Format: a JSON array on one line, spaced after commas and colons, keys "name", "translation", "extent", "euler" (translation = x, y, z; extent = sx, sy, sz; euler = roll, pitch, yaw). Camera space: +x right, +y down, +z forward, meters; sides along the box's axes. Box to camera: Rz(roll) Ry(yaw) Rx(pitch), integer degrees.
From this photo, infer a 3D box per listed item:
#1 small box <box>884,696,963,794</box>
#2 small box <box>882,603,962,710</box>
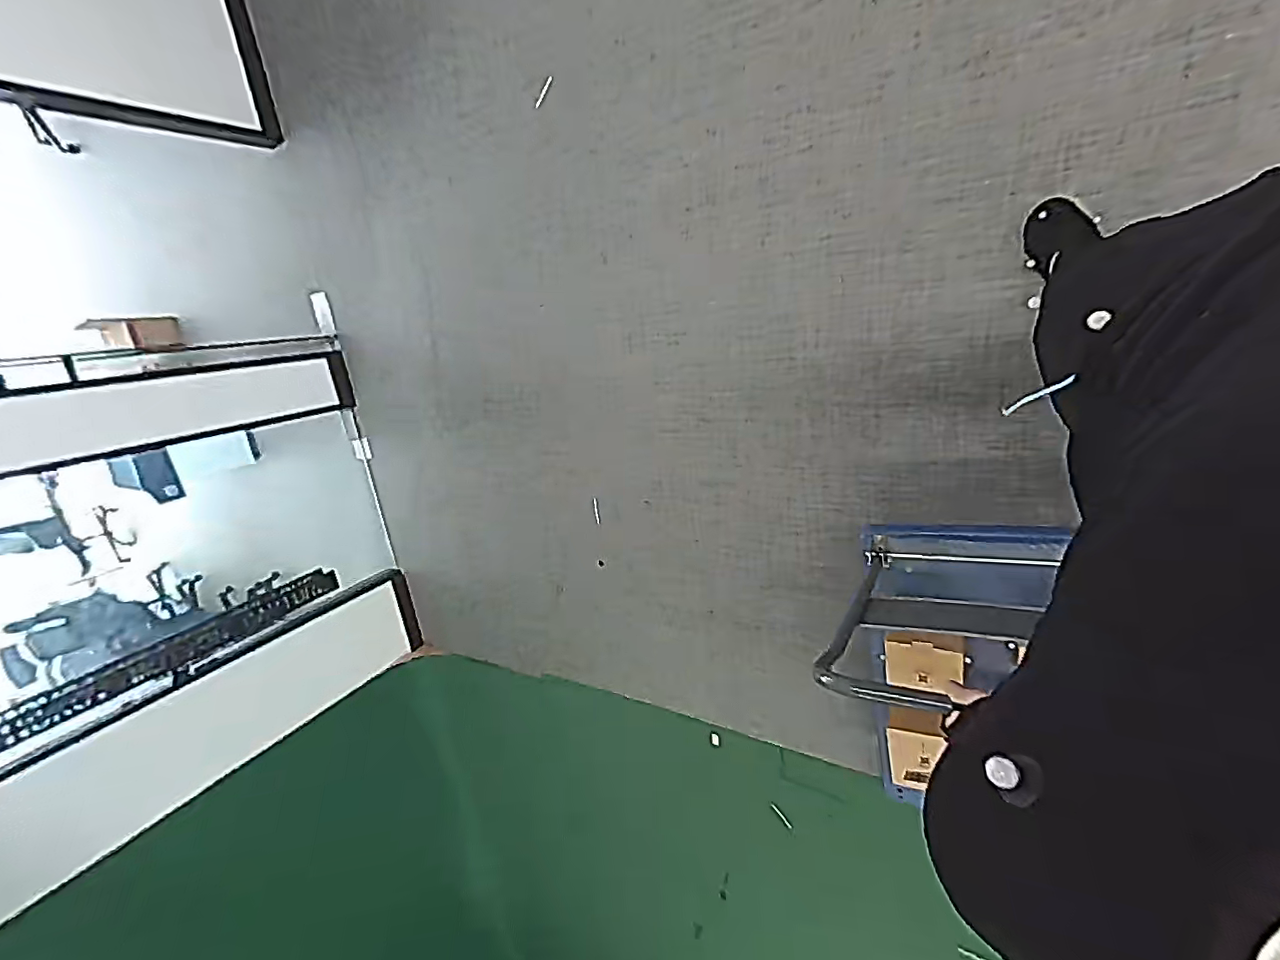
[{"name": "small box", "translation": [0.748, 0.673, 1.419], "extent": [0.168, 0.176, 0.179], "euler": [-4, 105, 32]}, {"name": "small box", "translation": [0.711, 0.435, 1.357], "extent": [0.168, 0.176, 0.179], "euler": [1, 107, 32]}]
